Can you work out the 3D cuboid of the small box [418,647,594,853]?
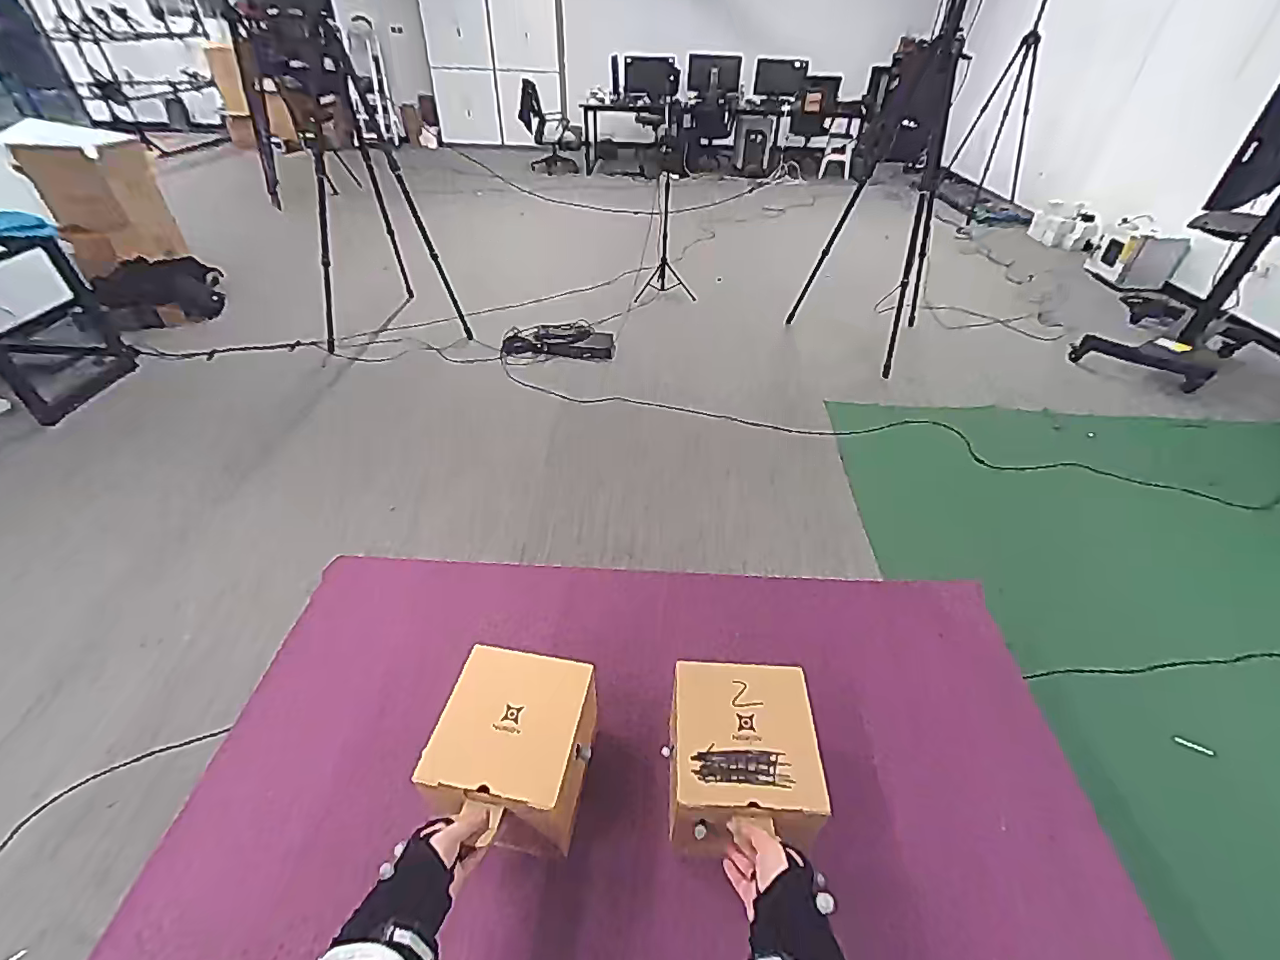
[{"bbox_3d":[-0.161,0.354,0.714,0.168,0.176,0.179,8,41,7],"label":"small box"}]
